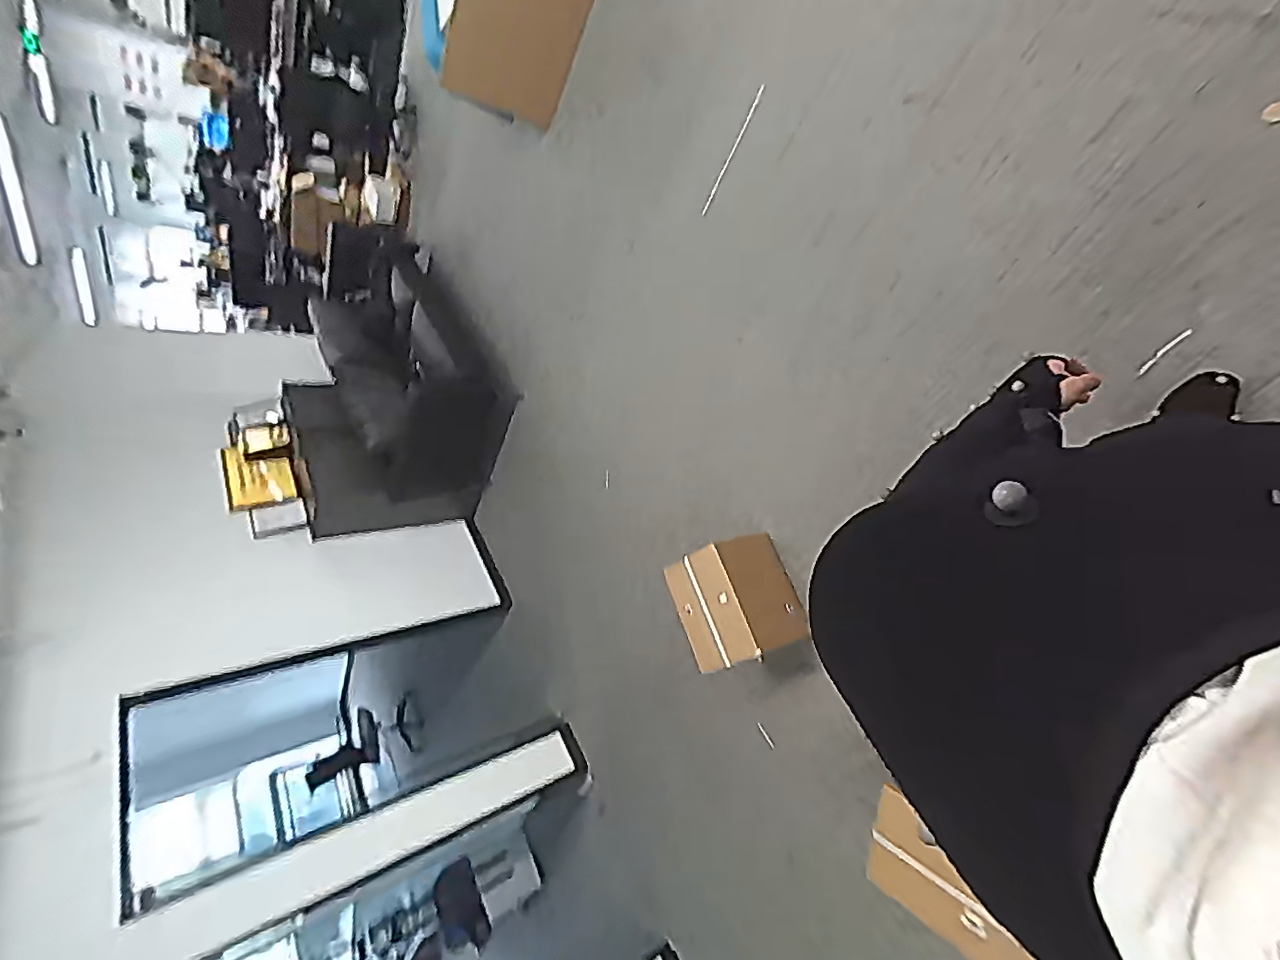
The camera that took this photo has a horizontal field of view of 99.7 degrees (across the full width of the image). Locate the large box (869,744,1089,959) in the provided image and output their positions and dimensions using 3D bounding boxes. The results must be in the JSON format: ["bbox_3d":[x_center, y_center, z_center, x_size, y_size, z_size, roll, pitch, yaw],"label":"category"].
[{"bbox_3d":[0.895,0.999,1.451,0.408,0.320,0.320,17,108,47],"label":"large box"}]
